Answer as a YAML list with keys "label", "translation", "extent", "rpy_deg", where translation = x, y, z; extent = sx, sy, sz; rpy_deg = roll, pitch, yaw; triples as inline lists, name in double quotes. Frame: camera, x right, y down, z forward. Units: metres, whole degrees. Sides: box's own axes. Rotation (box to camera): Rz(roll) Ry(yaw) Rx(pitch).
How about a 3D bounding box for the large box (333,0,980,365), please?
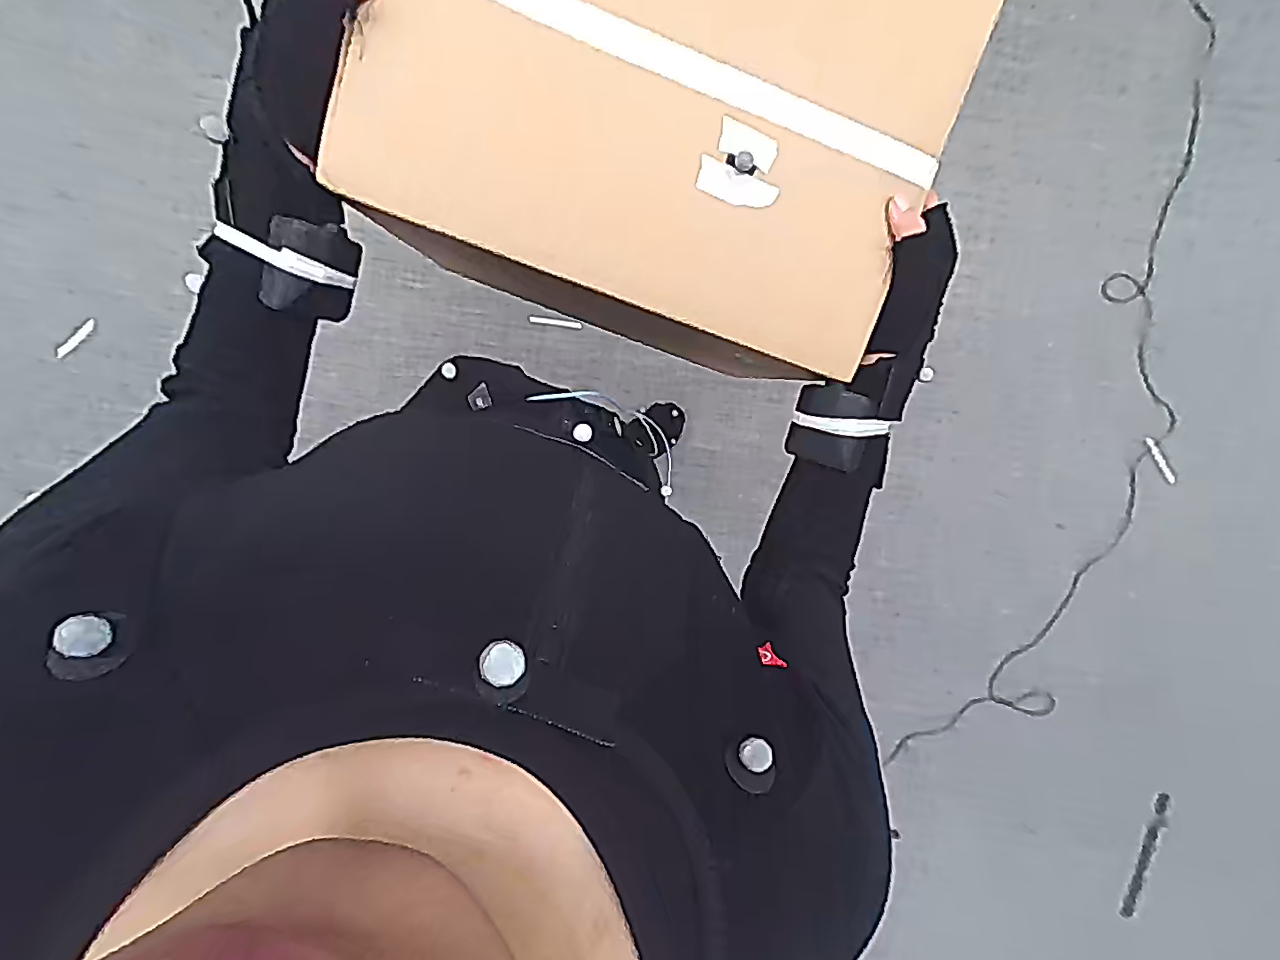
- label: "large box"
  translation: [0.004, -0.320, 0.521]
  extent: [0.408, 0.320, 0.320]
  rpy_deg: [17, 100, -9]
